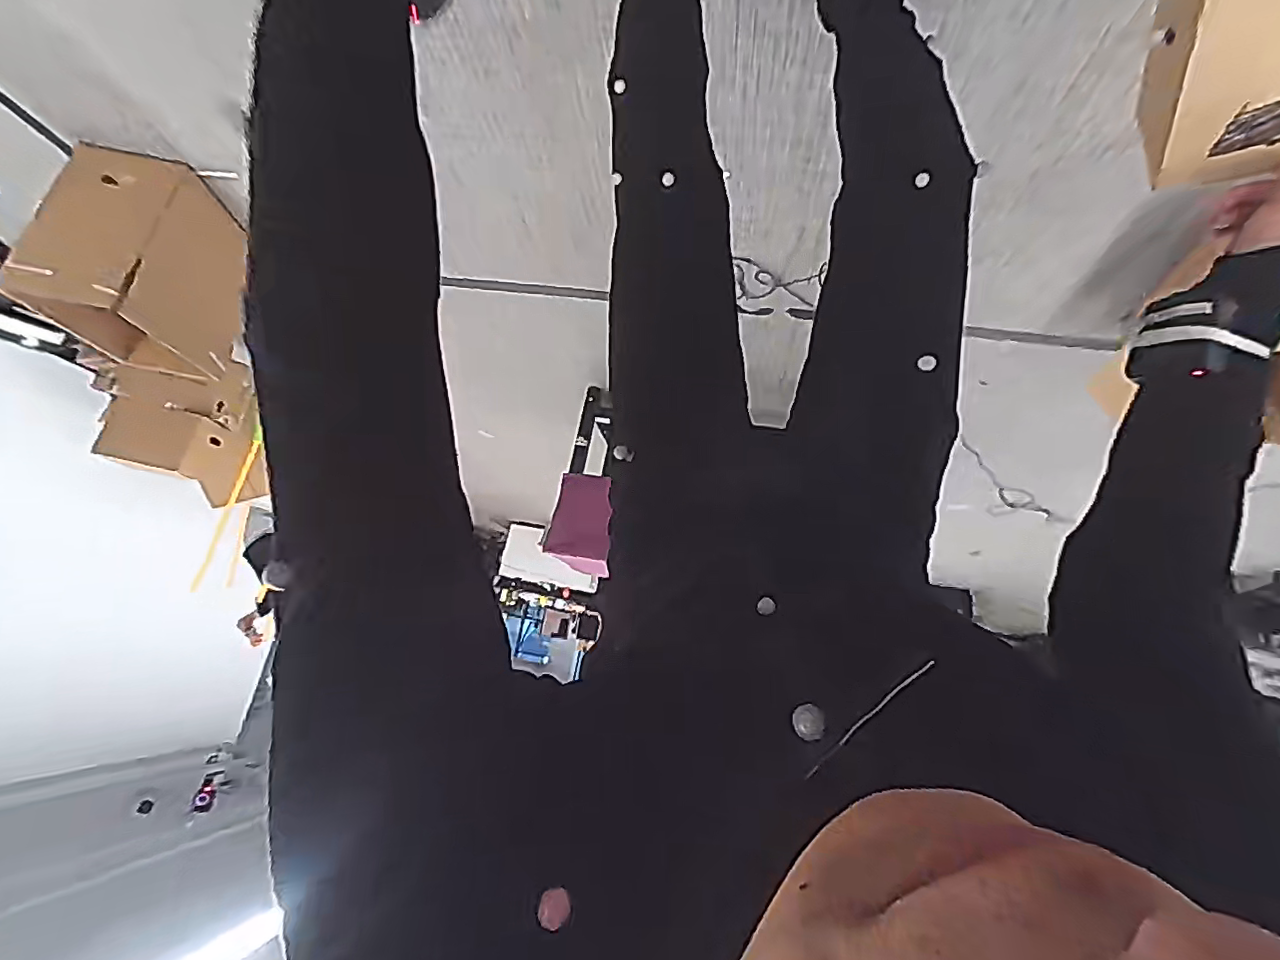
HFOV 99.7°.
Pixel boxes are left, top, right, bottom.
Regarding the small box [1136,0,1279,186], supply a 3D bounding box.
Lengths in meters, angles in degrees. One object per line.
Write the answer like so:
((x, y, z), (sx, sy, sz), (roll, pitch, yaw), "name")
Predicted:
((0.494, -0.357, 0.396), (0.168, 0.176, 0.179), (4, 142, 32), "small box")
